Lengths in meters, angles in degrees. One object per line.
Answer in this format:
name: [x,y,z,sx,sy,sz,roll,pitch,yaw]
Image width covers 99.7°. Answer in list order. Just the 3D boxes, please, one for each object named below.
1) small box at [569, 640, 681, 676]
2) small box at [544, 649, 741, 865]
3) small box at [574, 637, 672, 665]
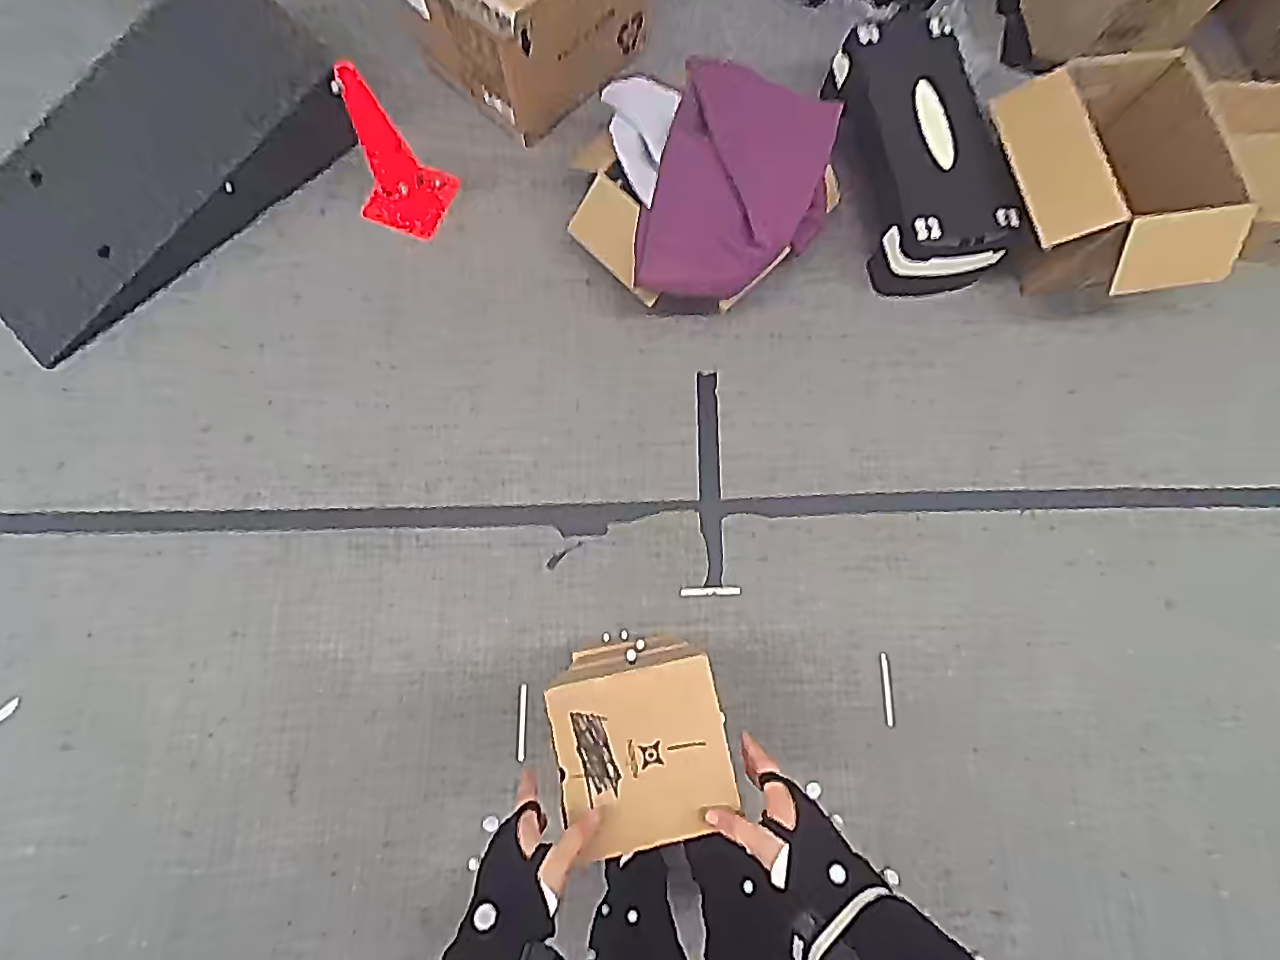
small box: [-0.001,0.339,0.781,0.168,0.176,0.179,-11,78,-4]
small box: [0.000,0.298,0.621,0.179,0.176,0.168,-11,77,-4]
small box: [-0.018,0.373,0.941,0.168,0.176,0.179,-9,77,-3]
